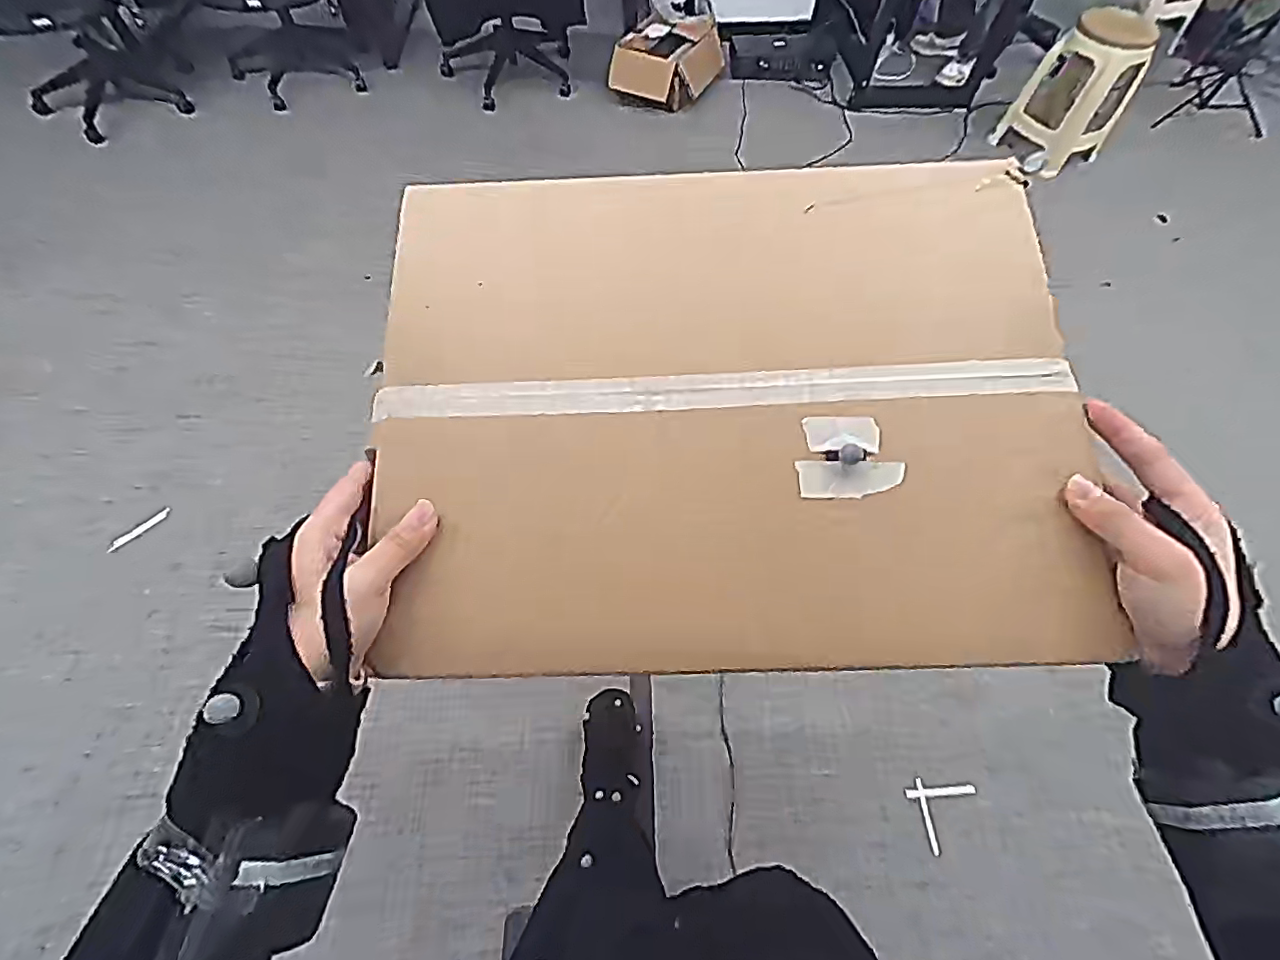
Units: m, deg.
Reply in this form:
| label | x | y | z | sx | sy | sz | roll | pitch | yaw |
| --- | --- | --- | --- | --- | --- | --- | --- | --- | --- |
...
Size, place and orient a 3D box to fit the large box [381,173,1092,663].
| label | x | y | z | sx | sy | sz | roll | pitch | yaw |
| --- | --- | --- | --- | --- | --- | --- | --- | --- | --- |
| large box | 0.048 | -0.017 | 0.480 | 0.408 | 0.320 | 0.320 | -2 | 76 | 1 |
